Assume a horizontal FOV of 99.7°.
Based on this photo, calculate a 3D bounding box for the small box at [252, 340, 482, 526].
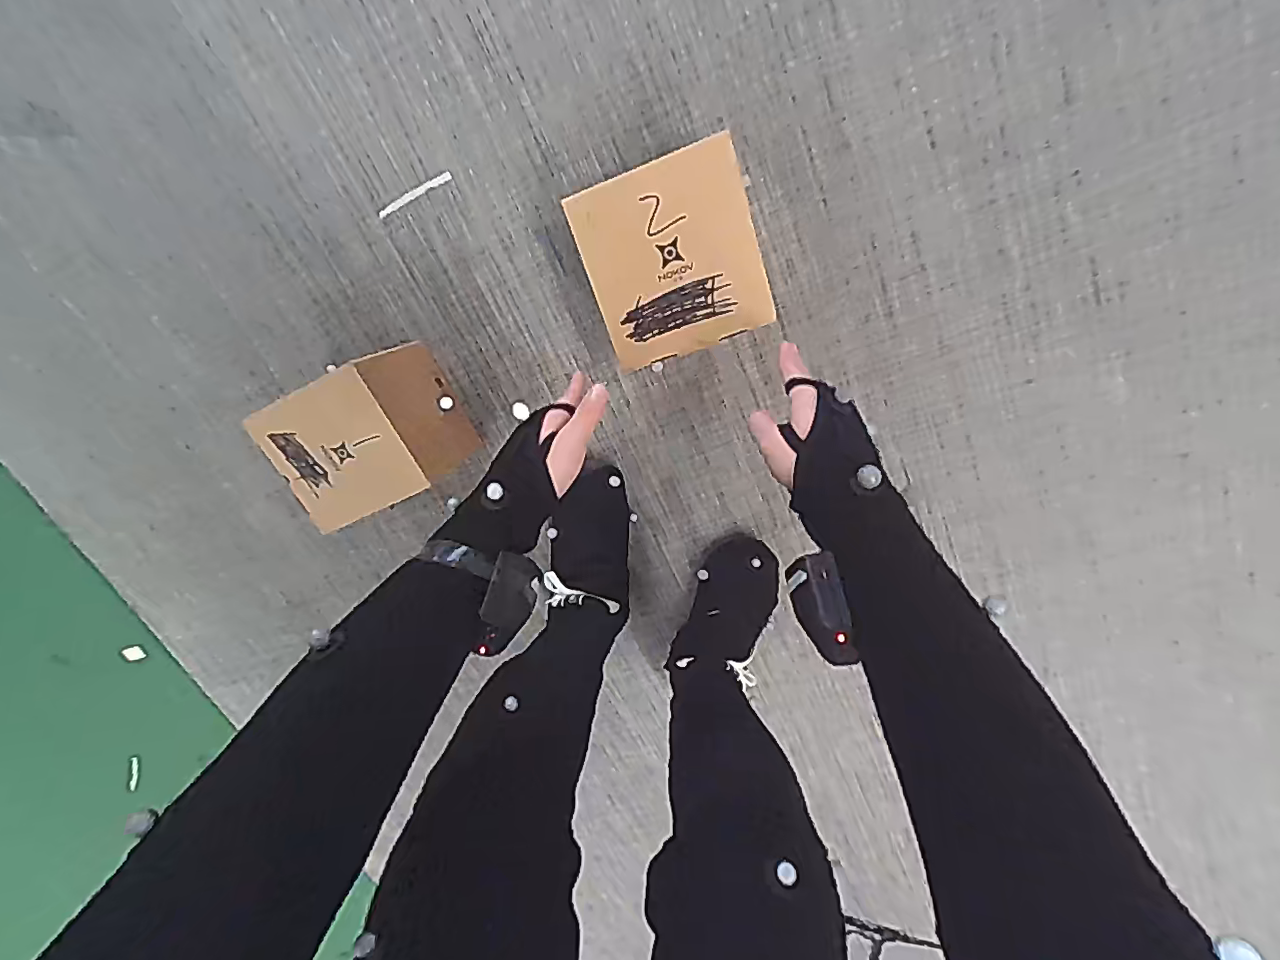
[{"bbox_3d":[-0.344,-0.069,0.718,0.179,0.176,0.168,-22,109,14],"label":"small box"}]
